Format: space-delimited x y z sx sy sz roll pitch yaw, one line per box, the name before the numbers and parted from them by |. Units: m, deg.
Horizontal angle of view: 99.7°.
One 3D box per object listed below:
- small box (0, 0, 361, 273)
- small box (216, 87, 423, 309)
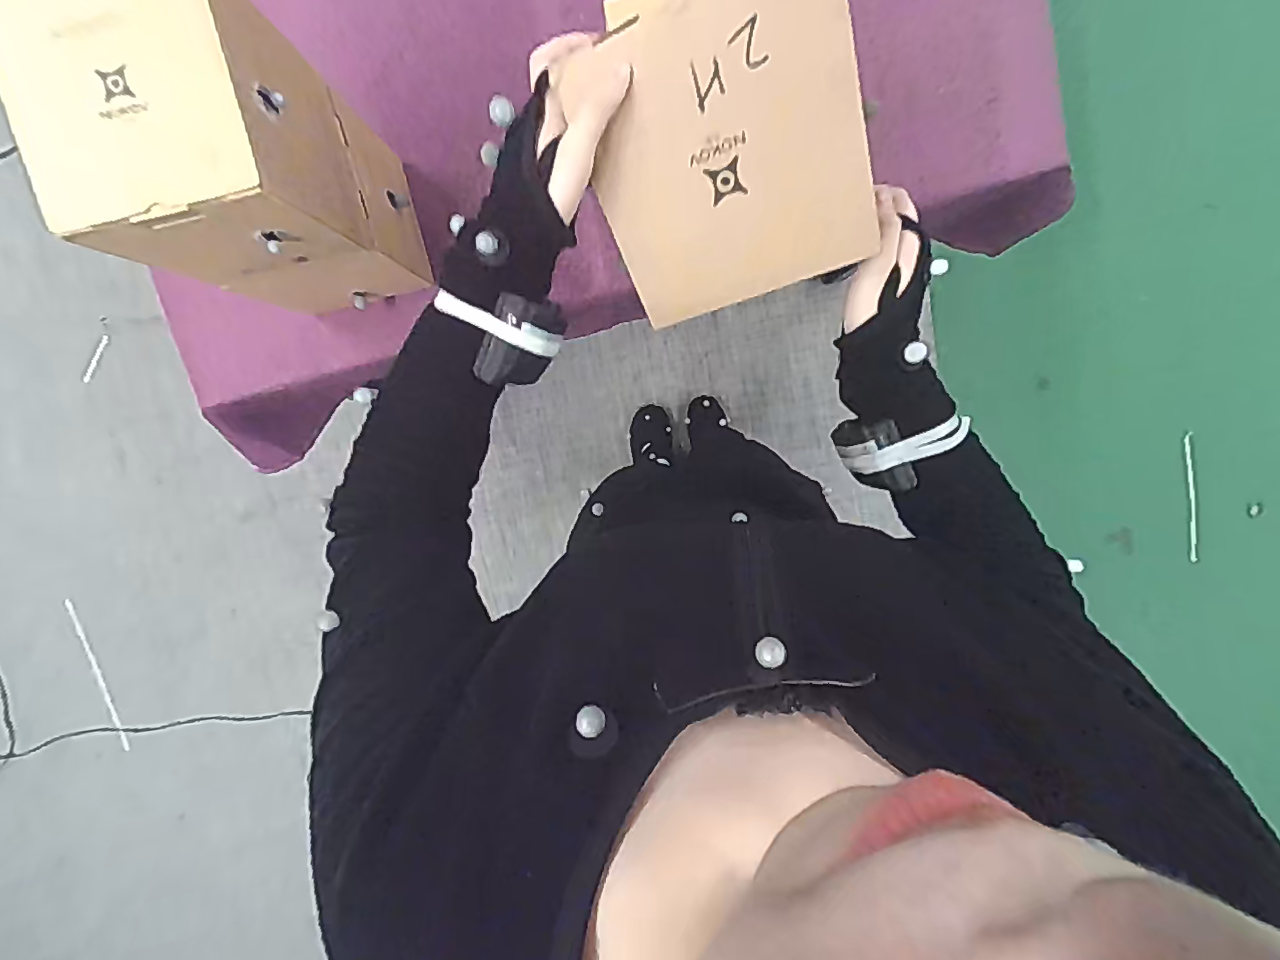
small box | -0.376 -0.294 0.473 0.168 0.176 0.179 -11 97 1
small box | -0.376 -0.312 0.635 0.179 0.176 0.168 -13 98 1
